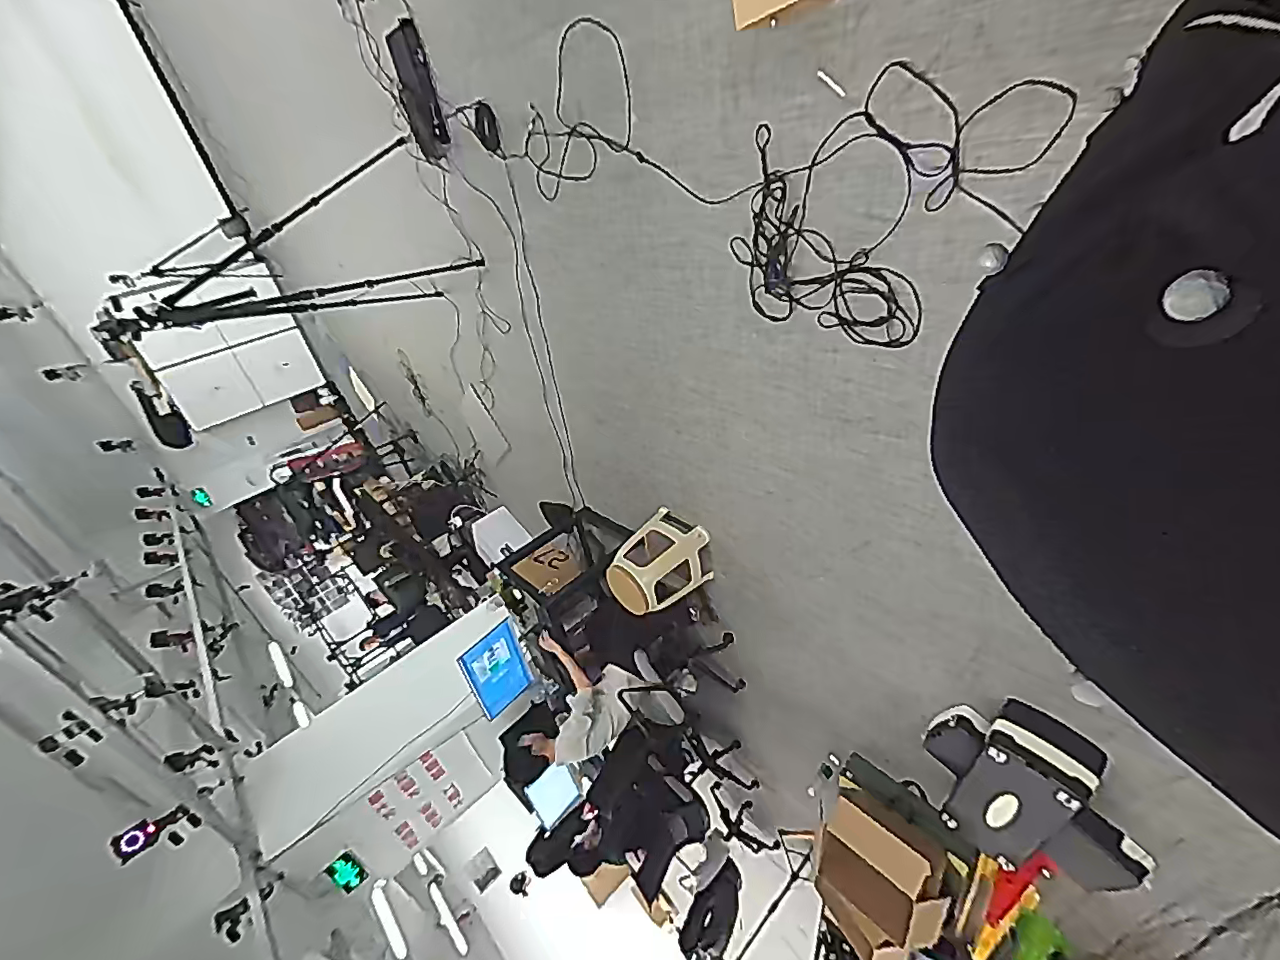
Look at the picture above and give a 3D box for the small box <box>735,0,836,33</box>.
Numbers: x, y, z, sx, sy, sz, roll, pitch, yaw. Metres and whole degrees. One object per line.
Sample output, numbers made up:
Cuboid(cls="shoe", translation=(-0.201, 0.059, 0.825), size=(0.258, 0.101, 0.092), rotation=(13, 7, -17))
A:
Cuboid(cls="small box", translation=(0.329, -1.145, 1.222), size=(0.179, 0.176, 0.168), rotation=(18, 133, 46))
